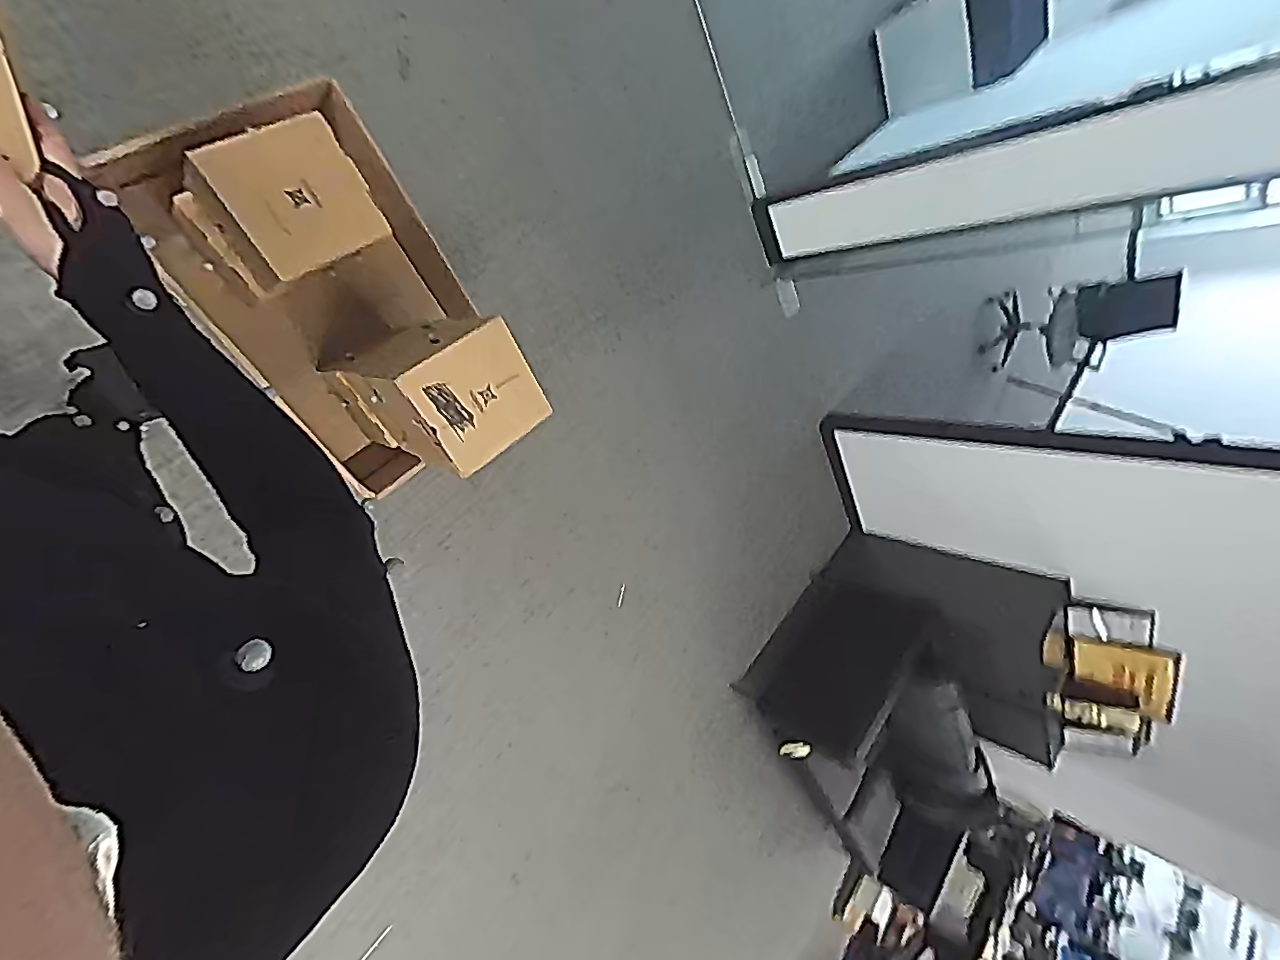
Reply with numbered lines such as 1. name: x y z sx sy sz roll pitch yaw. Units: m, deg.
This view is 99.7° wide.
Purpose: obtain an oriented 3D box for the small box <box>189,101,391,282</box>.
1. small box: -0.504 -0.404 0.777 0.179 0.176 0.168 -42 123 -26

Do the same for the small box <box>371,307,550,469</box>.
1. small box: -0.275 -0.141 0.813 0.179 0.176 0.168 -42 125 -26

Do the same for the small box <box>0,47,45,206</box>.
1. small box: -0.577 -0.313 0.389 0.168 0.176 0.179 -18 114 -40
